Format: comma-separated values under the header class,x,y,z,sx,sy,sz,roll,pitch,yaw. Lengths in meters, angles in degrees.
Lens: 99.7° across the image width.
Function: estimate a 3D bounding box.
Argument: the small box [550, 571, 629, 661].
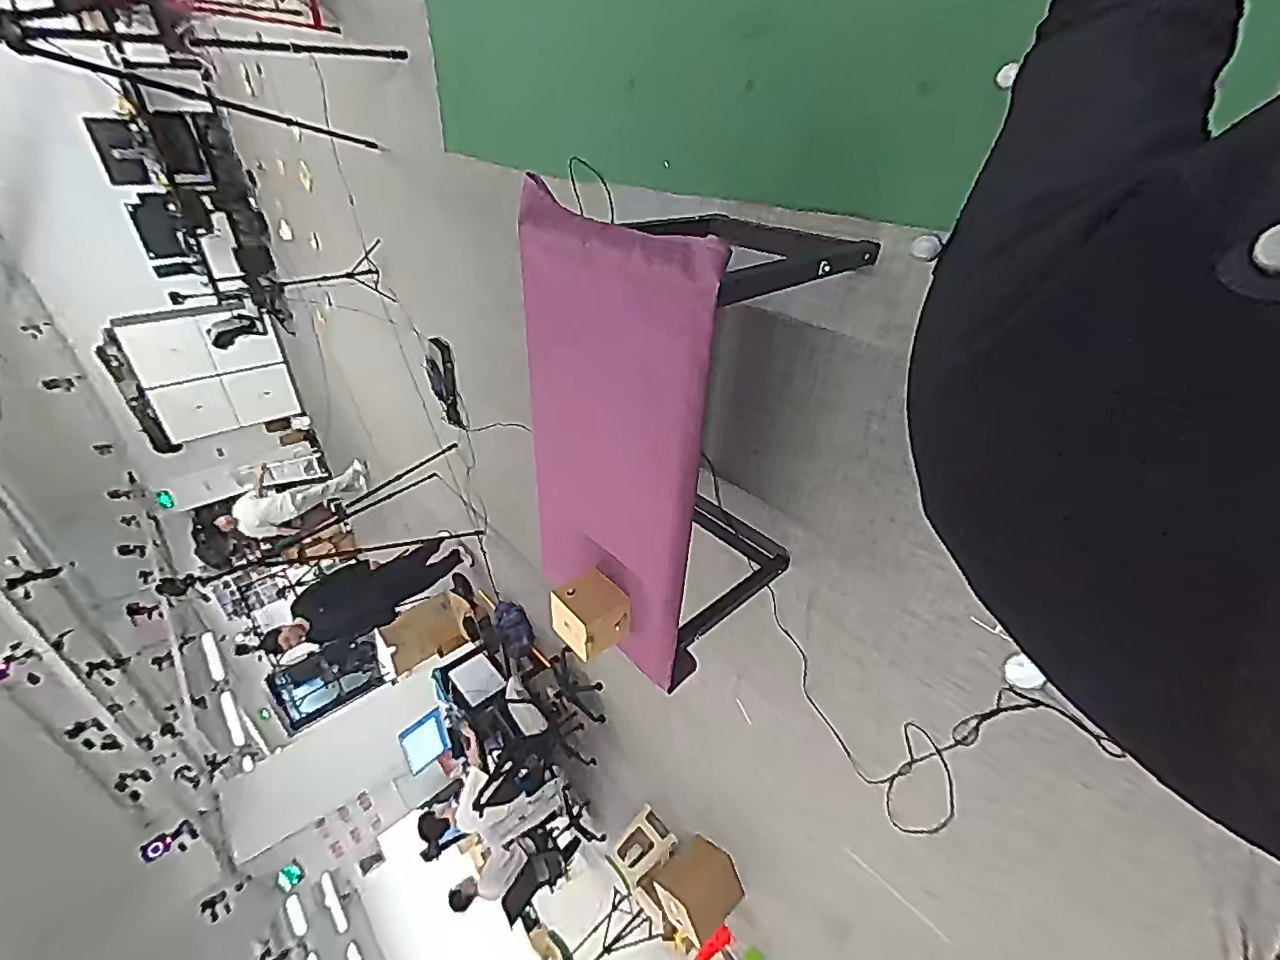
class,x,y,z,sx,sy,sz,roll,pitch,yaw
small box,-0.154,0.400,1.634,0.179,0.176,0.168,34,135,36
